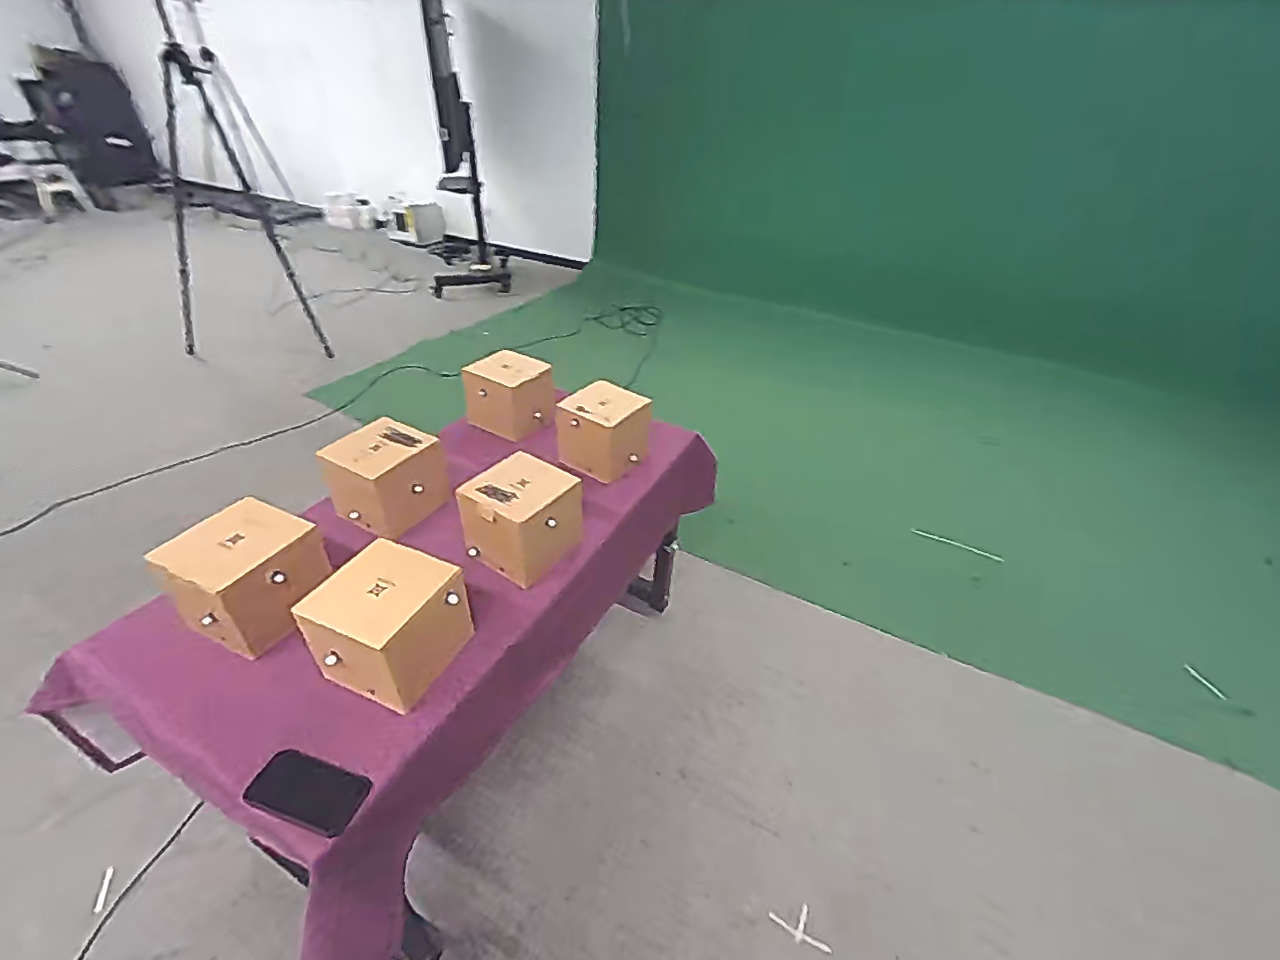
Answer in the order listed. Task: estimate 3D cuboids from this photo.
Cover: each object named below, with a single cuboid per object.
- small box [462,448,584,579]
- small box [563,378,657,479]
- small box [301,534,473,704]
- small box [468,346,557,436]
[{"bbox_3d":[-0.226,0.067,1.086,0.168,0.176,0.179,25,41,25],"label":"small box"},{"bbox_3d":[-0.079,-0.131,1.363,0.168,0.176,0.179,25,42,26],"label":"small box"},{"bbox_3d":[-0.388,0.221,0.866,0.168,0.176,0.179,16,37,16],"label":"small box"},{"bbox_3d":[-0.345,-0.244,1.484,0.179,0.176,0.168,24,42,23],"label":"small box"}]
